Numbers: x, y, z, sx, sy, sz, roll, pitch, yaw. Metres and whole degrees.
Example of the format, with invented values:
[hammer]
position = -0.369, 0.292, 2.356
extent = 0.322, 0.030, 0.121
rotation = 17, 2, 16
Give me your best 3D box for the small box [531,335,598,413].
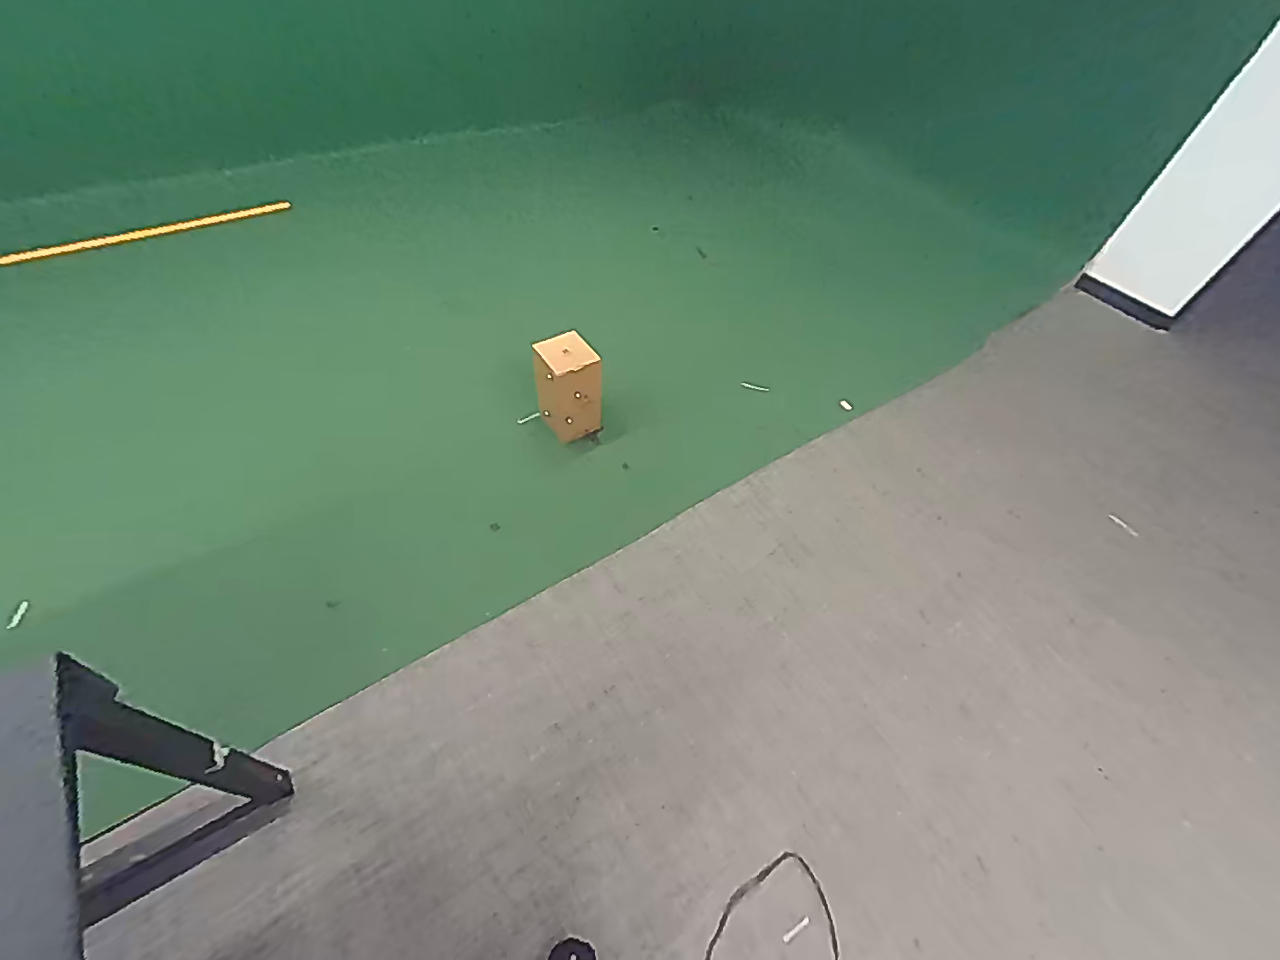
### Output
[small box]
position = -0.258, -0.358, 1.836
extent = 0.168, 0.176, 0.179
rotation = -26, 58, -25
